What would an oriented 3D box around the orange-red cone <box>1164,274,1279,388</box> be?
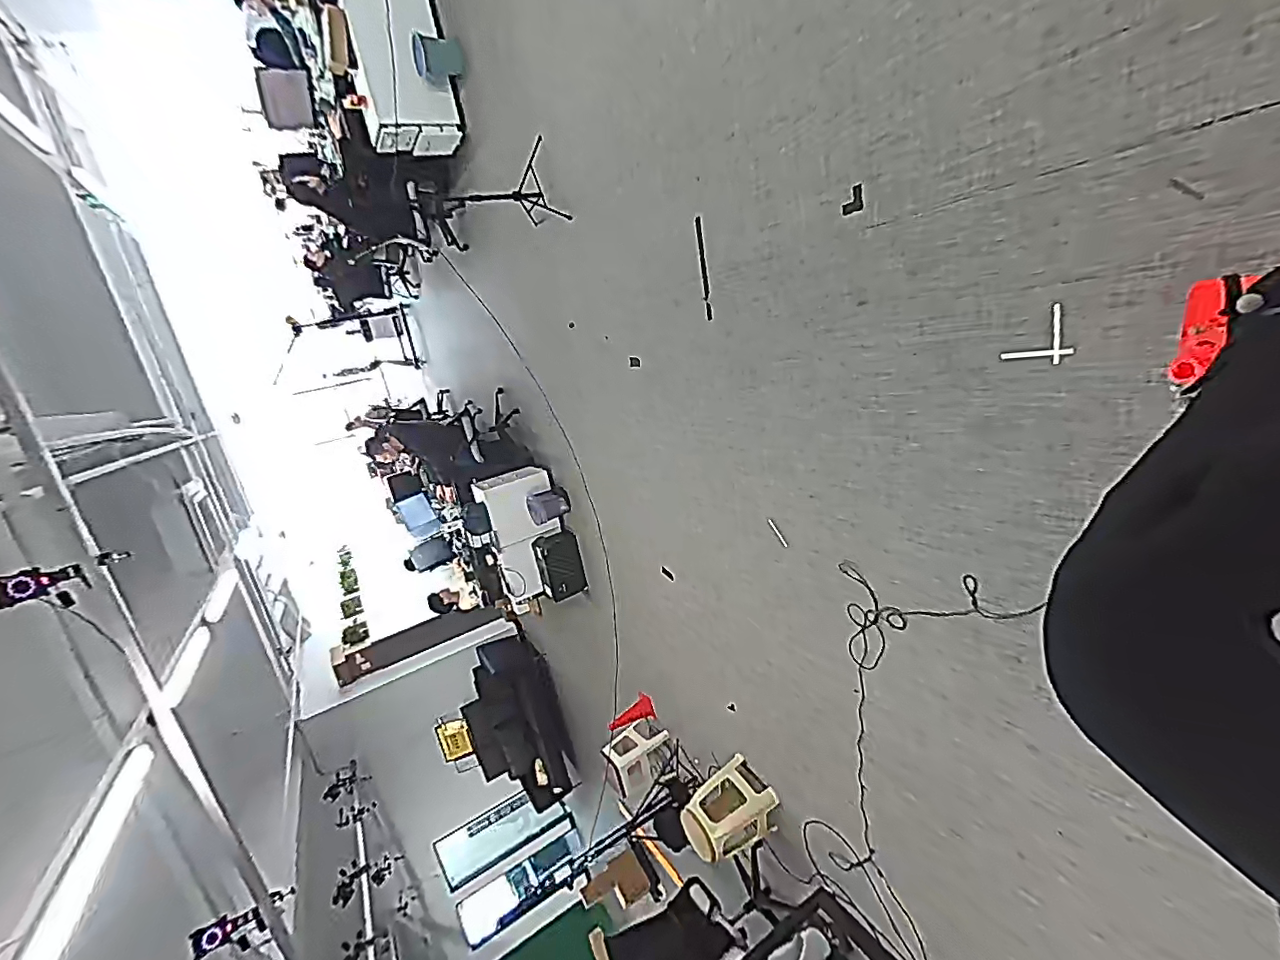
[{"bbox_3d":[0.965,-0.223,0.900,0.199,0.360,0.198,25,127,56],"label":"orange-red cone"}]
